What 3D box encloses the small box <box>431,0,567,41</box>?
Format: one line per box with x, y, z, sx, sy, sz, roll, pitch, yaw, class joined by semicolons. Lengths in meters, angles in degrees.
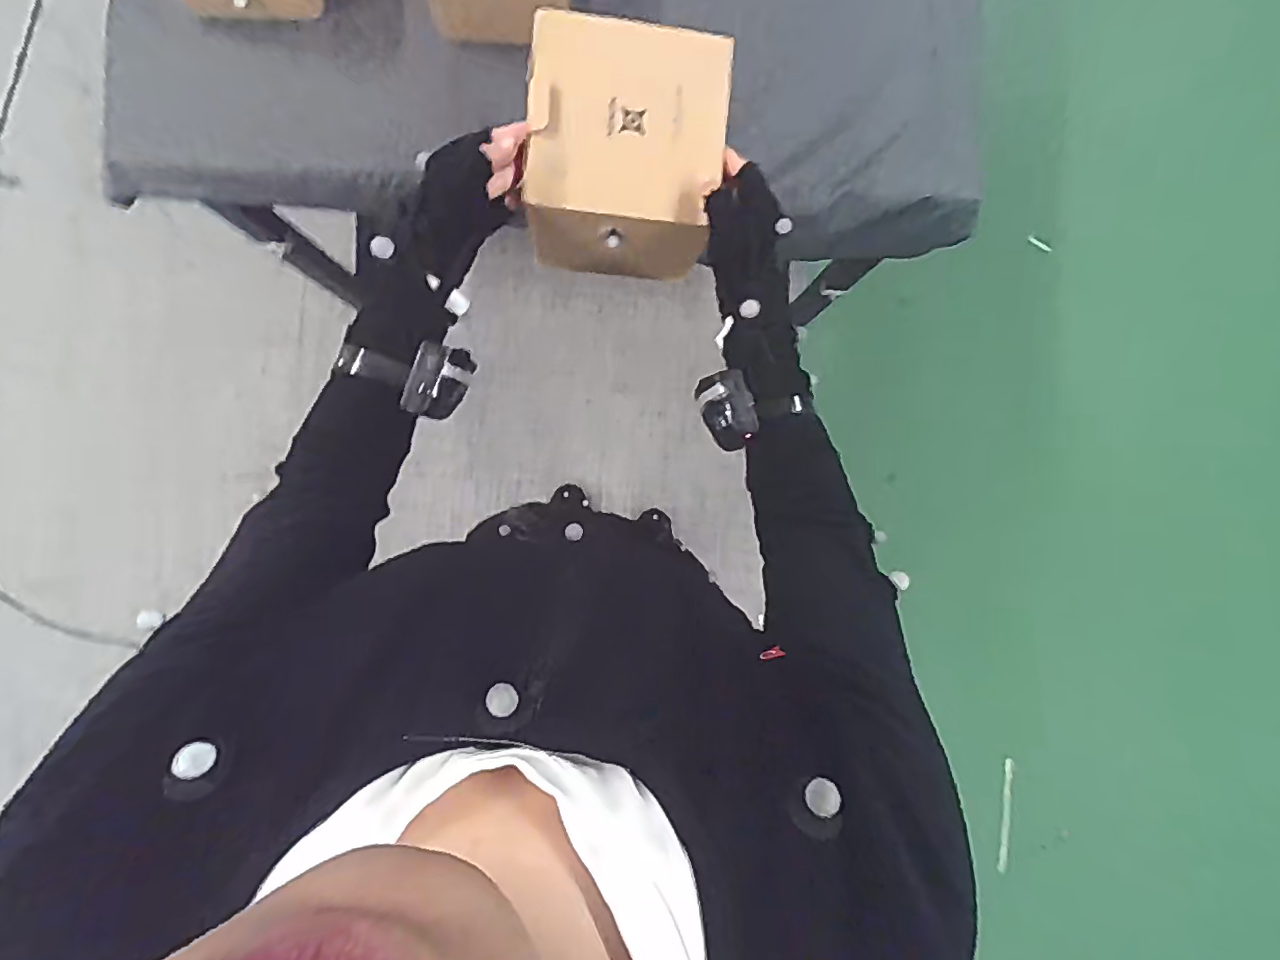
-0.185;-0.695;0.674;0.179;0.176;0.168;1;89;-4;small box

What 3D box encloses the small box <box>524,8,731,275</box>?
-0.019;-0.323;0.556;0.179;0.176;0.168;3;93;-8;small box

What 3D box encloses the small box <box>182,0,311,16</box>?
-0.518;-0.712;0.654;0.179;0.176;0.168;-2;89;-4;small box
